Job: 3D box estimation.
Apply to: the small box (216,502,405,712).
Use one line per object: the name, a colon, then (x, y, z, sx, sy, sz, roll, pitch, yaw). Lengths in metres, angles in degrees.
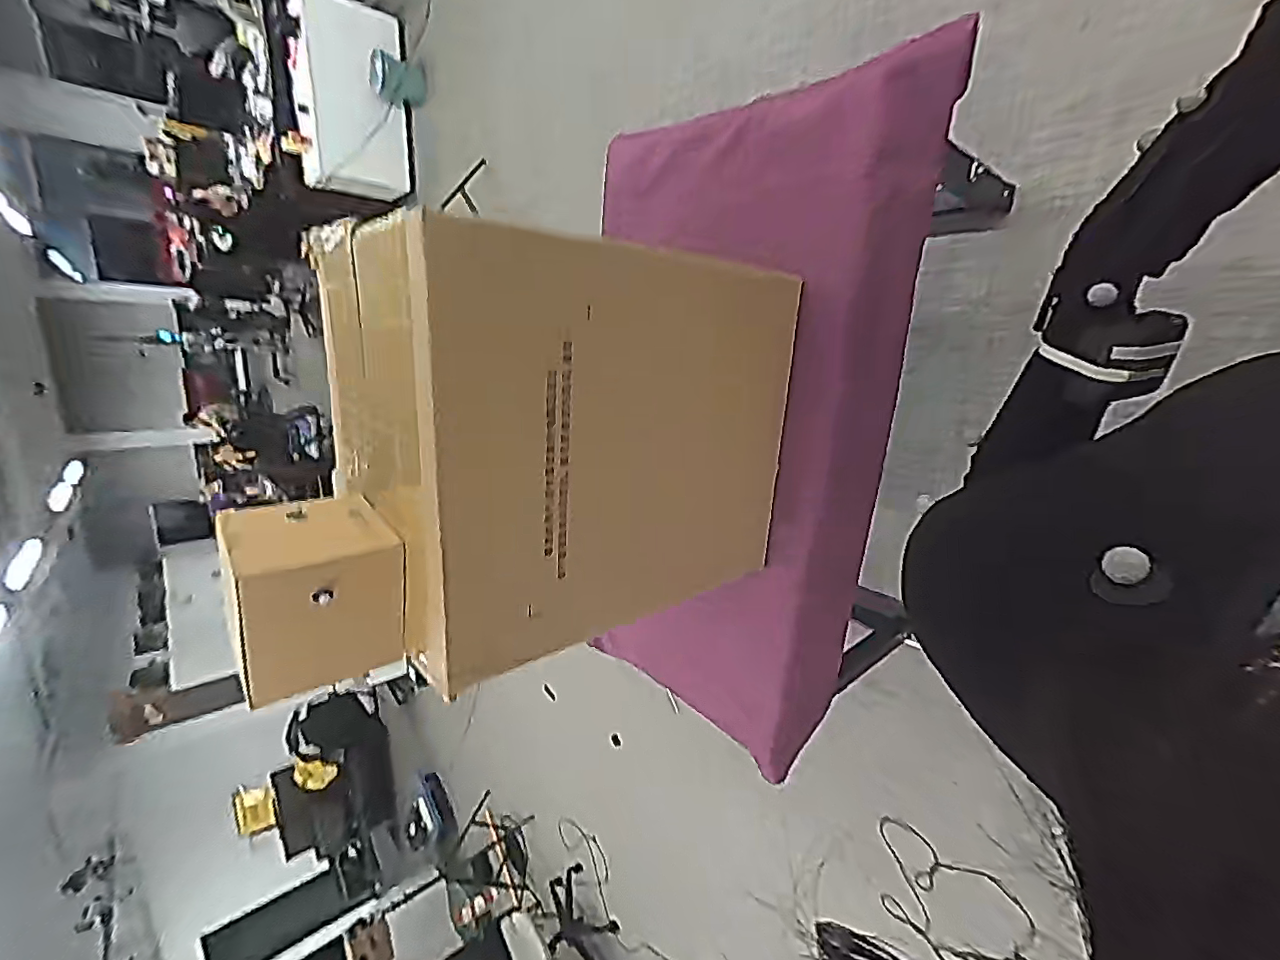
small box: (-0.405, 0.141, 0.675, 0.168, 0.176, 0.179, 28, 118, 43)
